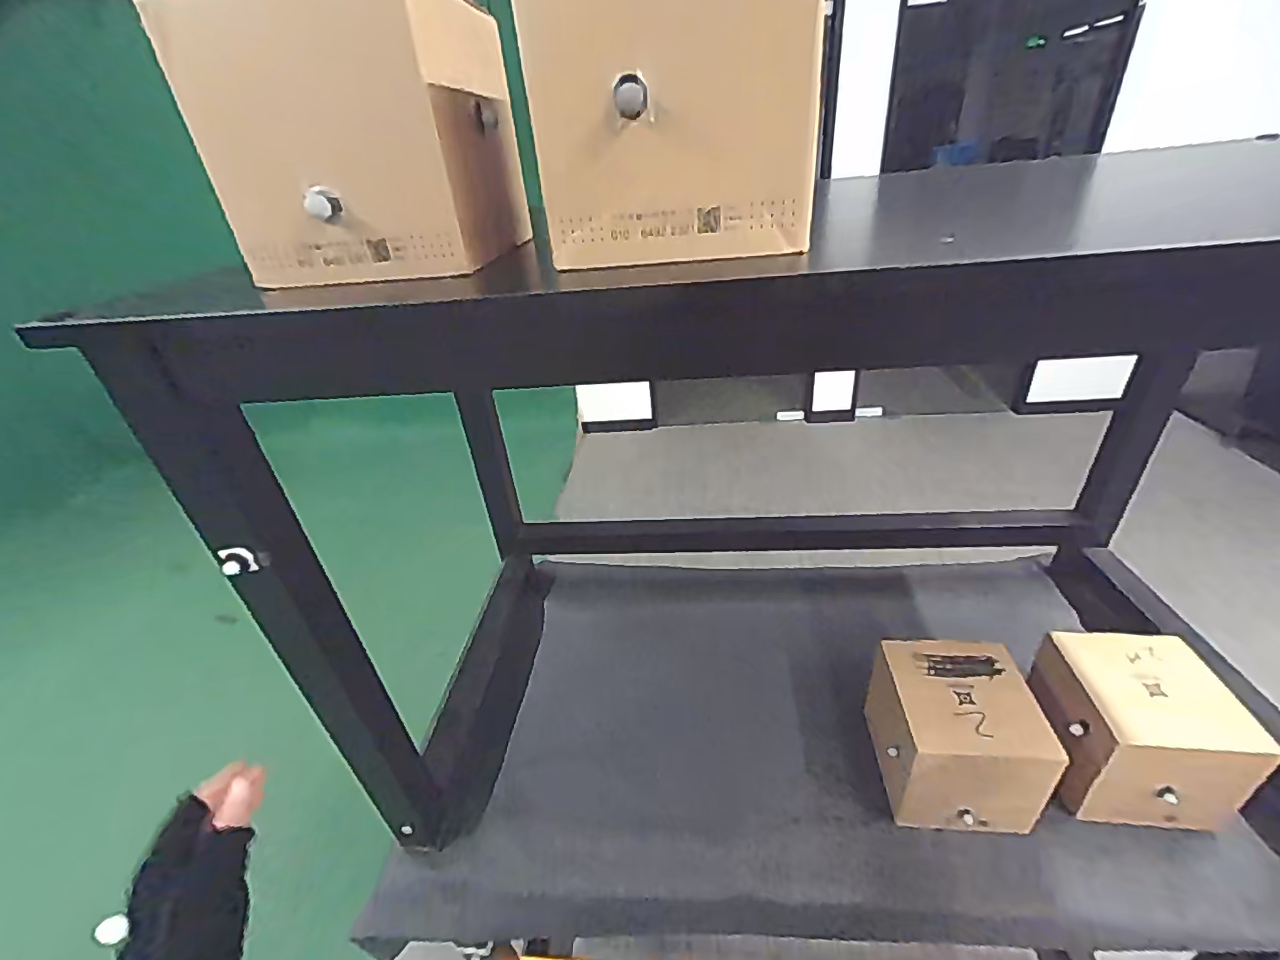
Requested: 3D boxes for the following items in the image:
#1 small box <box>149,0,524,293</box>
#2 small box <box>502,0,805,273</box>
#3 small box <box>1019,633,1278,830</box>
[{"bbox_3d":[-0.200,-0.252,0.424,0.168,0.176,0.179,-1,32,7],"label":"small box"},{"bbox_3d":[0.022,-0.249,0.386,0.168,0.176,0.179,-2,31,8],"label":"small box"},{"bbox_3d":[0.649,0.332,0.722,0.168,0.176,0.179,0,31,10],"label":"small box"}]
